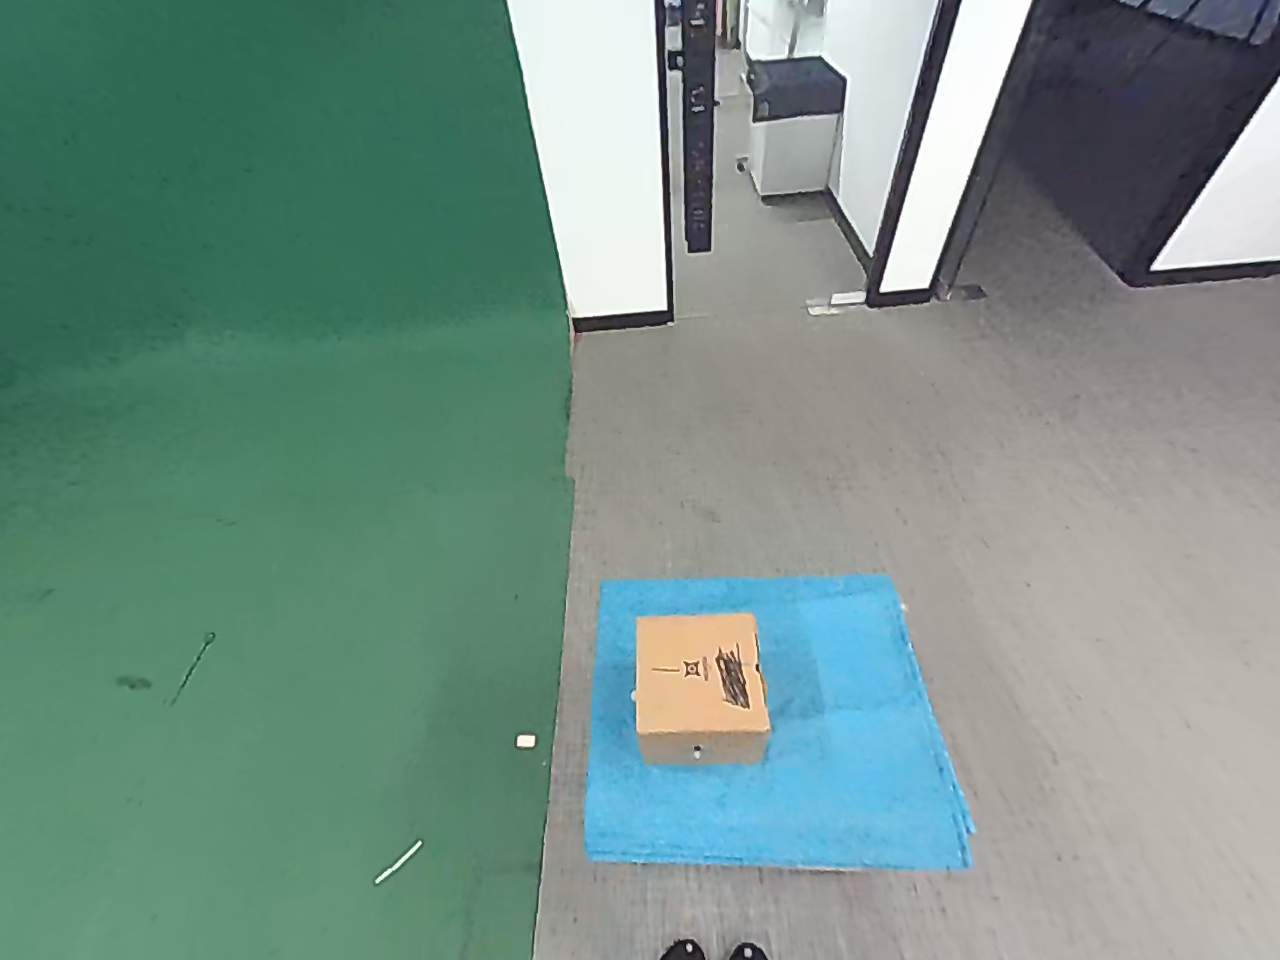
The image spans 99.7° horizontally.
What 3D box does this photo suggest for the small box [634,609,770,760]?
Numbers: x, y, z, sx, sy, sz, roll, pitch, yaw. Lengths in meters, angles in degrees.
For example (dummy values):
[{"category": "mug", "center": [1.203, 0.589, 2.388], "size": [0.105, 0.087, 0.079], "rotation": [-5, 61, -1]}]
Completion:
[{"category": "small box", "center": [0.085, 0.305, 0.802], "size": [0.179, 0.176, 0.168], "rotation": [-3, 49, 4]}]
